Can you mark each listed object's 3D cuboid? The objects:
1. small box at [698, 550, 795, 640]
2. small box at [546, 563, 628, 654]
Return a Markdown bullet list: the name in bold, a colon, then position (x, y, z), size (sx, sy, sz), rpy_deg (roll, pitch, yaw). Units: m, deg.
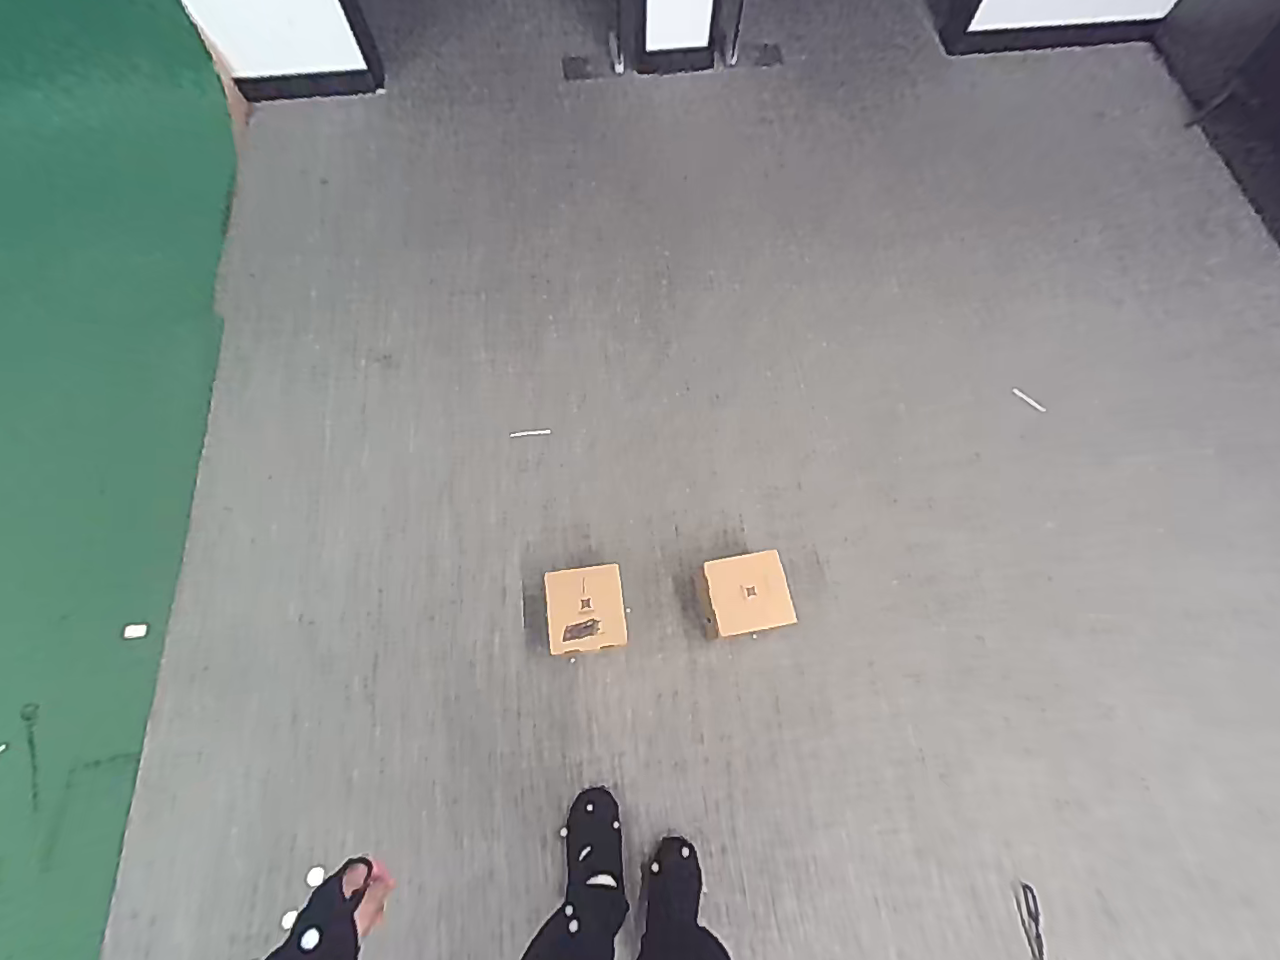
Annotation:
- **small box**: position (0.235, 0.273, 1.257), size (0.179, 0.176, 0.168), rpy_deg (-9, 71, -4)
- **small box**: position (-0.117, 0.301, 1.242), size (0.168, 0.176, 0.179), rpy_deg (-7, 69, -3)
